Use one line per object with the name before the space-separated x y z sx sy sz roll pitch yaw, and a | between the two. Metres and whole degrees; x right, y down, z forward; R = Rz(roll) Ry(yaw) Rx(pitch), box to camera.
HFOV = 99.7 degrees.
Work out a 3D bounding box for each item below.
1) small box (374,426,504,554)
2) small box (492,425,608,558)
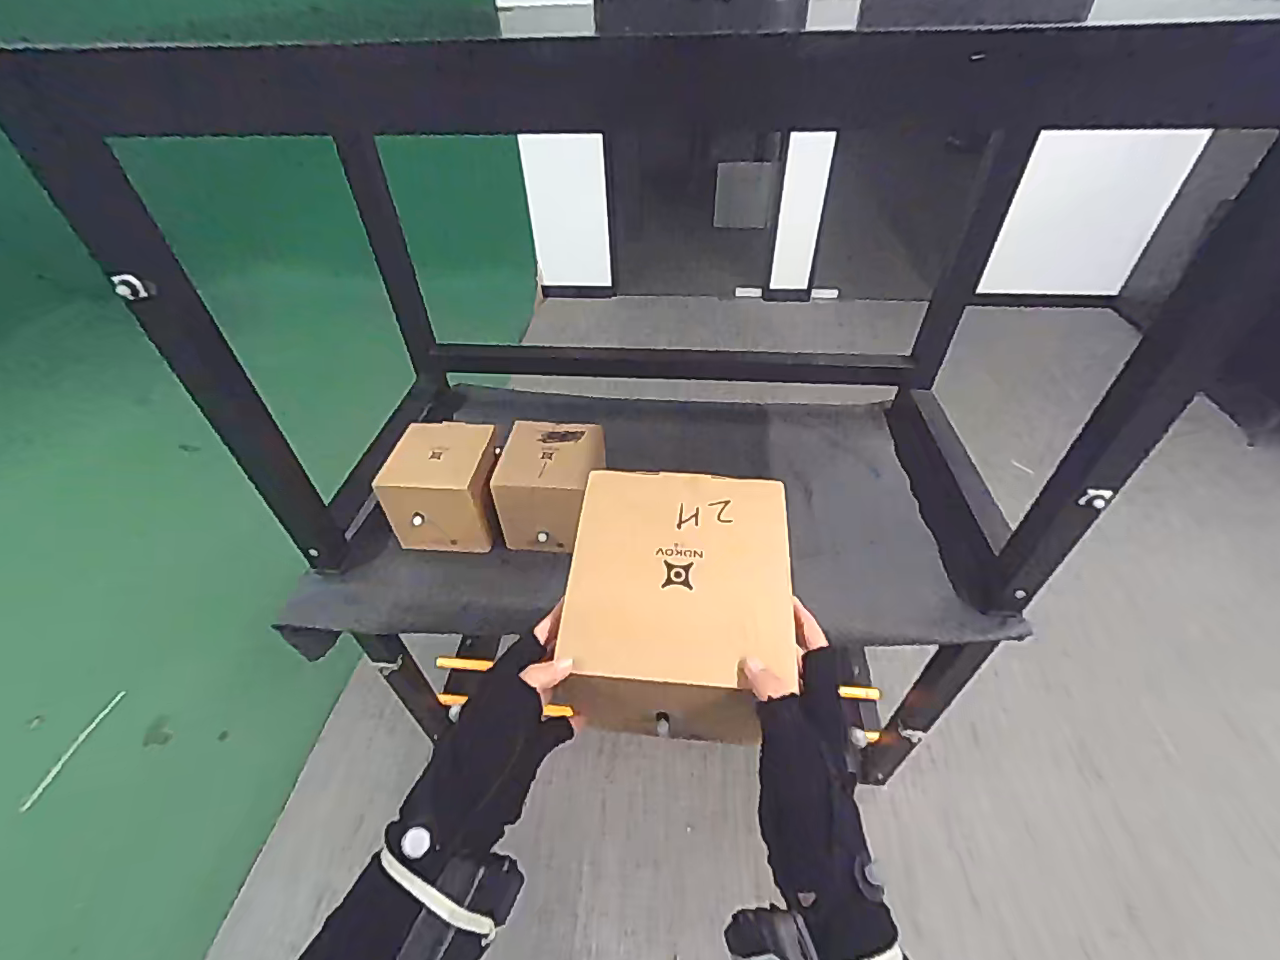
small box | -0.349 0.020 0.998 0.168 0.176 0.179 2 42 4
small box | -0.152 0.019 0.991 0.168 0.176 0.179 2 43 5
